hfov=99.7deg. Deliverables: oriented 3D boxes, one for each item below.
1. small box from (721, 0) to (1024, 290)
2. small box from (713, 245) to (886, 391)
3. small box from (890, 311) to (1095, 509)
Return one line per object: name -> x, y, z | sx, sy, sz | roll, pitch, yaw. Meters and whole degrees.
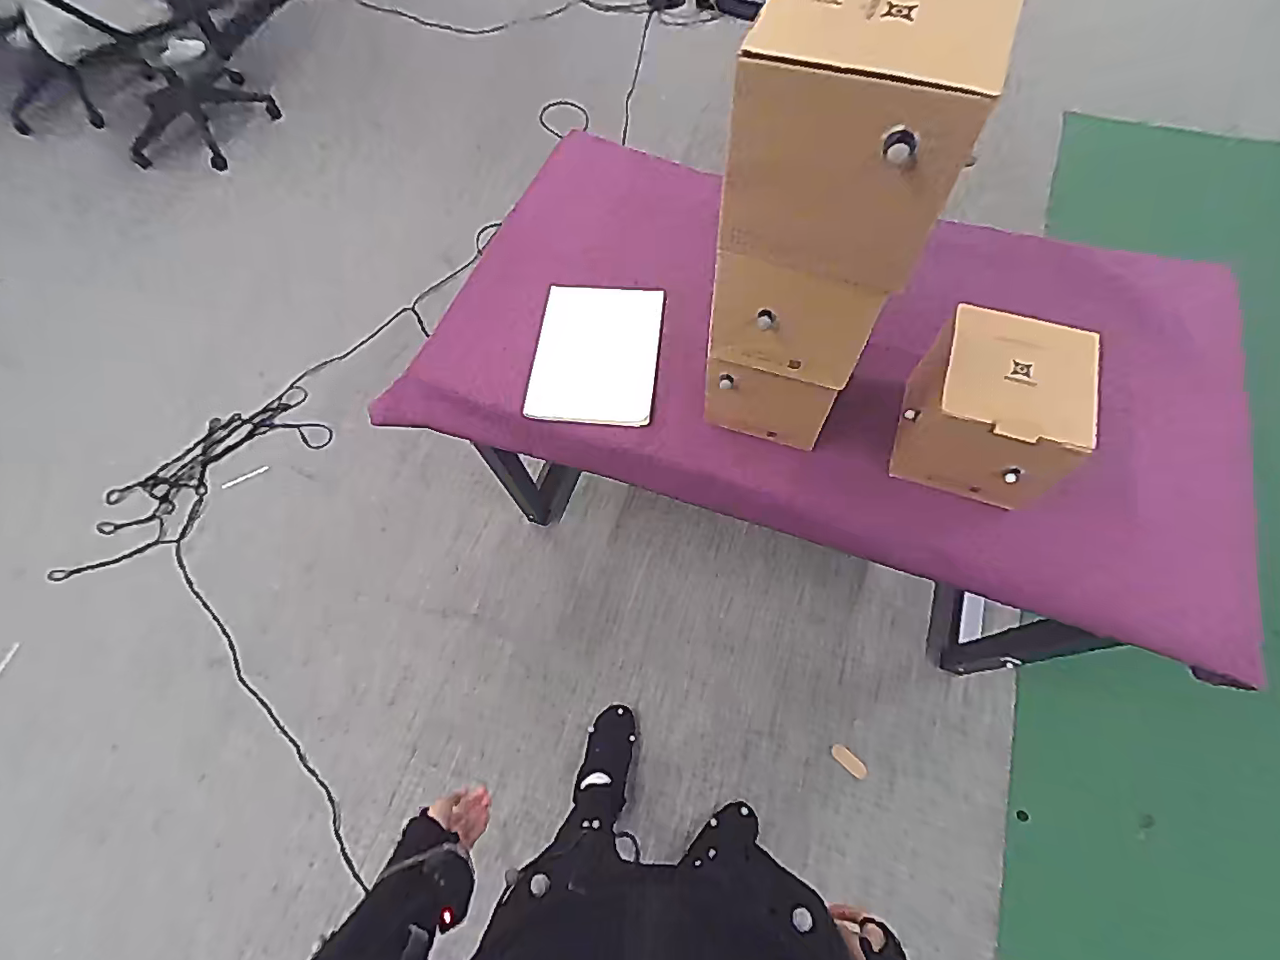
small box -> 0.182, -0.293, 0.465 | 0.179, 0.176, 0.168 | 20, 66, 13
small box -> 0.185, -0.229, 0.618 | 0.168, 0.176, 0.179 | 18, 66, 12
small box -> 0.450, -0.084, 0.713 | 0.168, 0.176, 0.179 | 18, 66, 11
